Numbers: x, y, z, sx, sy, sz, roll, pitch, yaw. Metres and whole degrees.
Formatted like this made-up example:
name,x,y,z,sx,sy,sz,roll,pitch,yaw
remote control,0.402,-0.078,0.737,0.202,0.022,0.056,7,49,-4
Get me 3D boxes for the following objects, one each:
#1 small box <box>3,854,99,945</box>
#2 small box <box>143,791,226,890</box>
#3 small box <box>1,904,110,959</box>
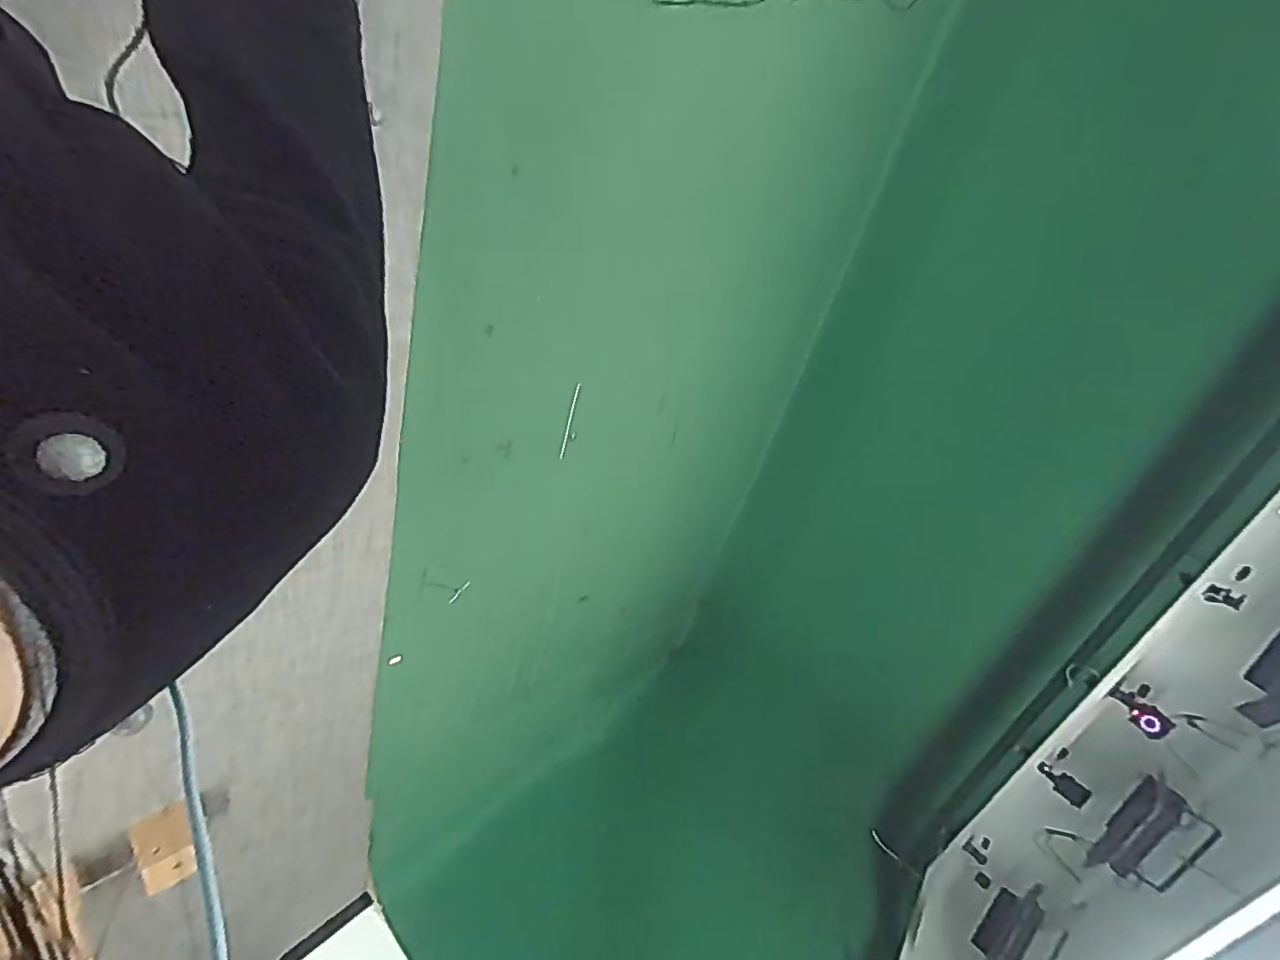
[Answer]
name,x,y,z,sx,sy,sz,roll,pitch,yaw
small box,-1.716,1.253,1.576,0.168,0.176,0.179,-6,122,-55
small box,-1.526,1.199,1.809,0.179,0.176,0.168,-18,133,-49
small box,-1.603,1.330,1.482,0.179,0.176,0.168,-6,123,-56
